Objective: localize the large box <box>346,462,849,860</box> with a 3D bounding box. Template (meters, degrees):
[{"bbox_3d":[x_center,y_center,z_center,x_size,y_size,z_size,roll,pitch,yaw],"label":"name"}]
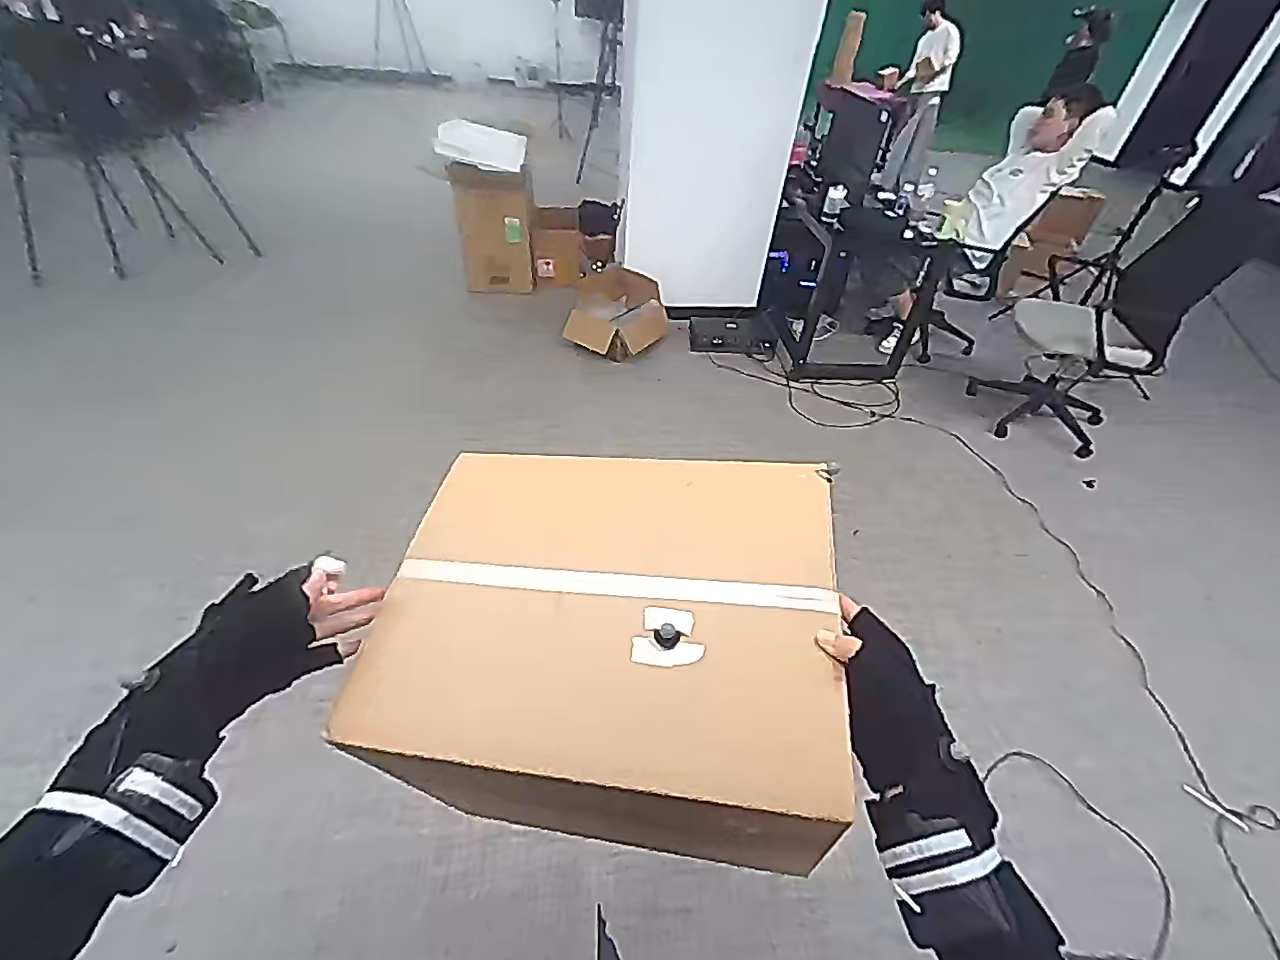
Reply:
[{"bbox_3d":[-0.012,0.198,0.614,0.408,0.320,0.320,3,50,11],"label":"large box"}]
